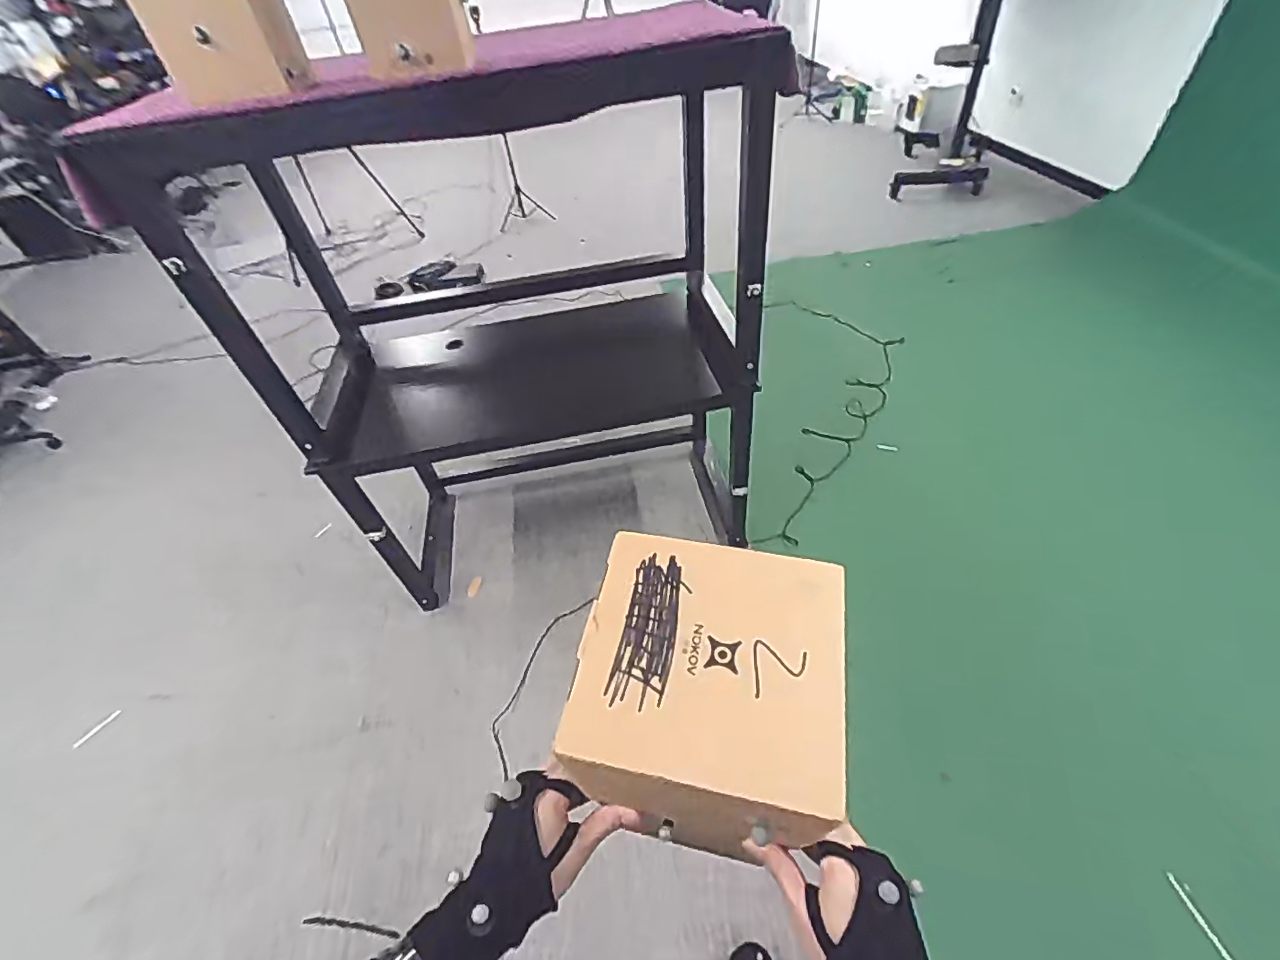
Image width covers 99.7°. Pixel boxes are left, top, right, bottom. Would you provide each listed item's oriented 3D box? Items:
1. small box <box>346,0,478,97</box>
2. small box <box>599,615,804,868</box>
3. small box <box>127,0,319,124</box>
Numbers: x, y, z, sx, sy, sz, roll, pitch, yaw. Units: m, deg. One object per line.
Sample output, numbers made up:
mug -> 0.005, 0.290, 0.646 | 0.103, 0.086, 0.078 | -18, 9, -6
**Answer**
small box -> -0.393, -0.791, 0.945 | 0.168, 0.176, 0.179 | -9, 45, 0
small box -> 0.067, 0.267, 0.554 | 0.168, 0.176, 0.179 | 8, 51, 12
small box -> -0.696, -0.739, 0.933 | 0.179, 0.176, 0.168 | -11, 44, -2
